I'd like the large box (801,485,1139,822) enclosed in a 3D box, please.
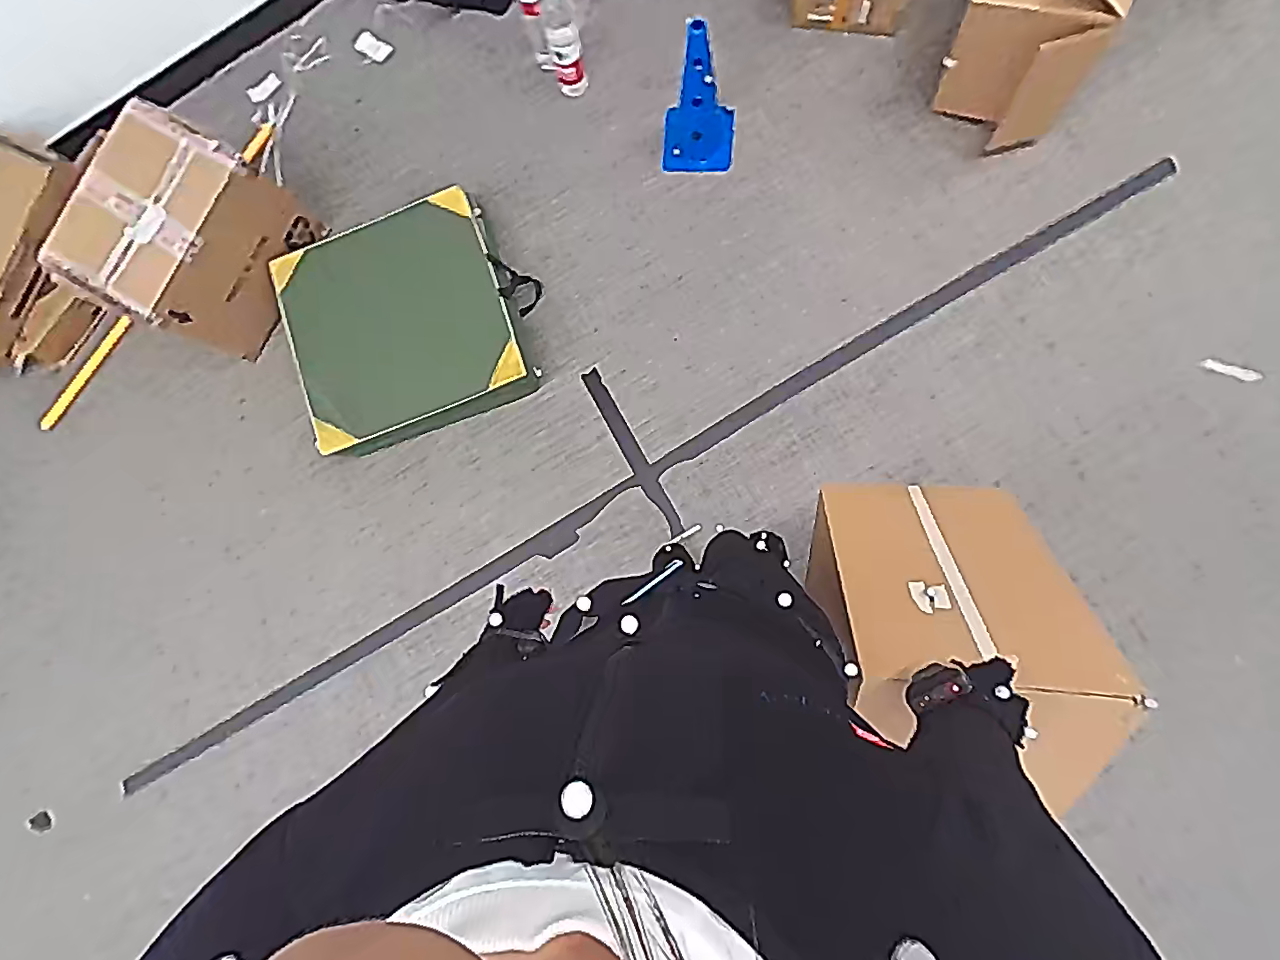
[{"bbox_3d":[0.450,0.254,0.874,0.320,0.408,0.320,2,127,11],"label":"large box"}]
